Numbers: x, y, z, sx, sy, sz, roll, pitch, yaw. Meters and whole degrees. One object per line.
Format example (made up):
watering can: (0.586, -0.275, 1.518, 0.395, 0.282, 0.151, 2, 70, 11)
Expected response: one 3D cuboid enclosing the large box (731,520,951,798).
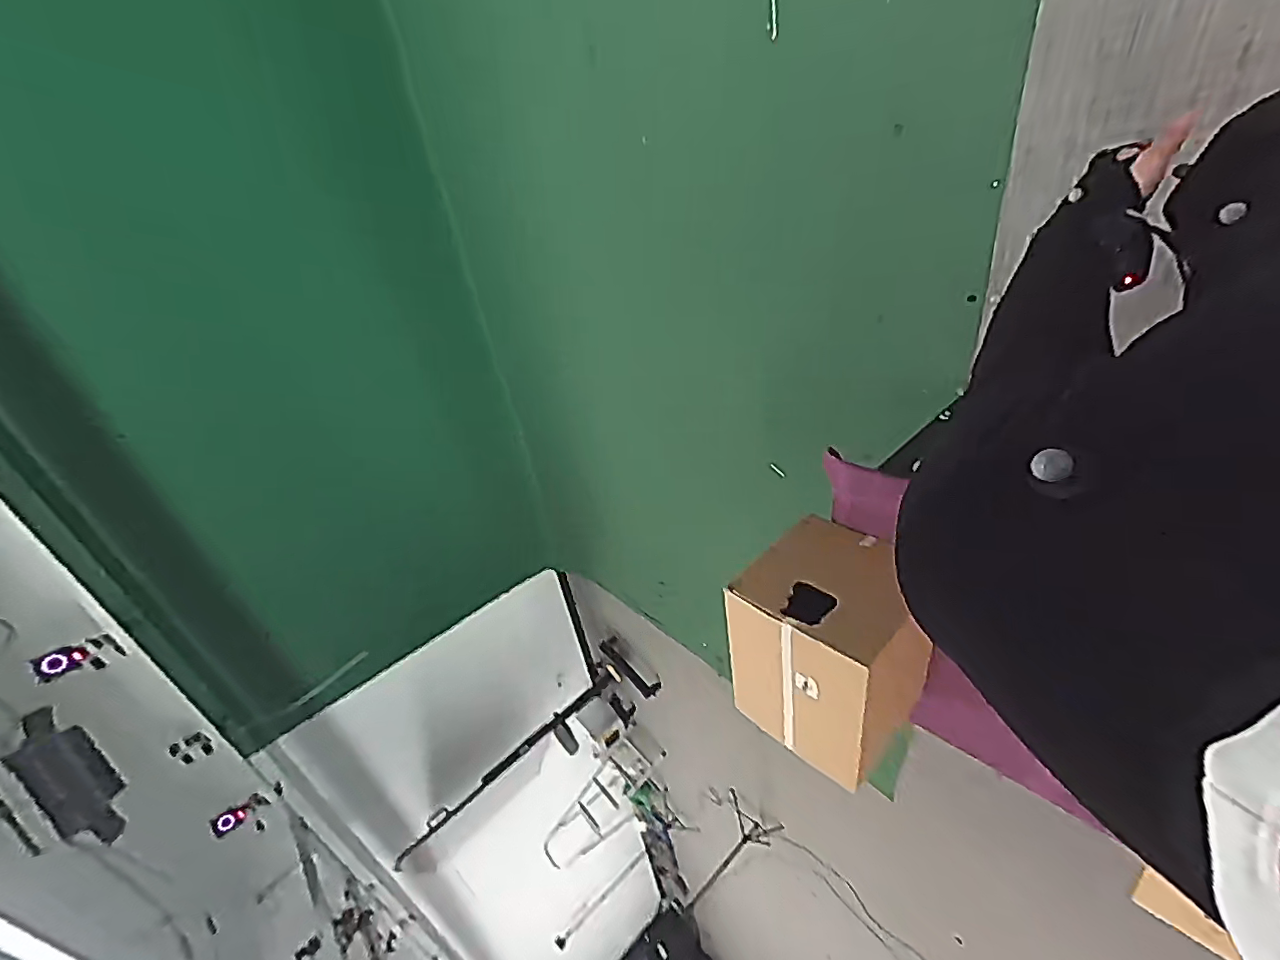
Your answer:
large box: (0.426, 0.363, 1.163, 0.320, 0.320, 0.408, 22, 133, 42)
